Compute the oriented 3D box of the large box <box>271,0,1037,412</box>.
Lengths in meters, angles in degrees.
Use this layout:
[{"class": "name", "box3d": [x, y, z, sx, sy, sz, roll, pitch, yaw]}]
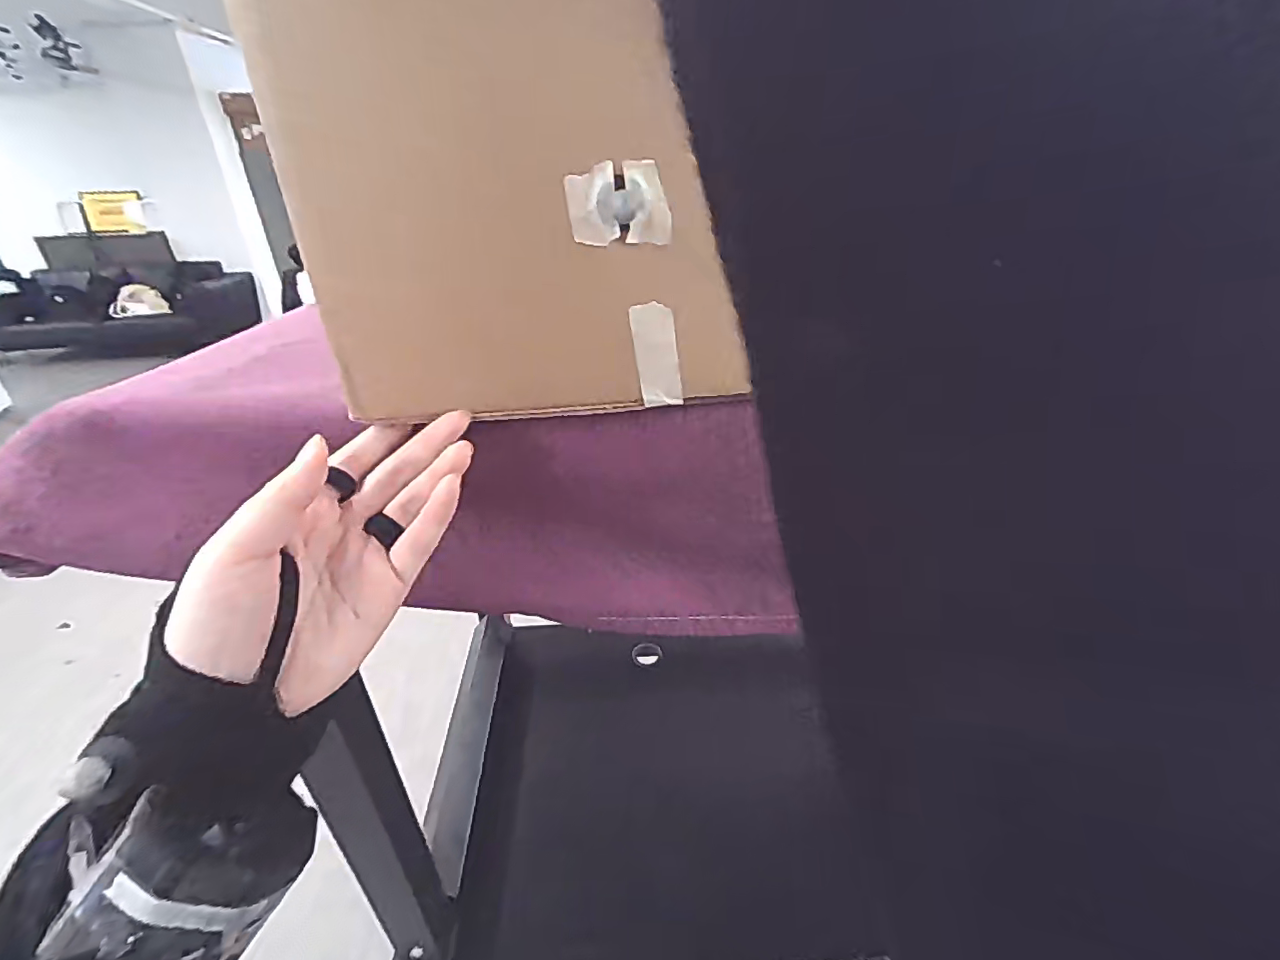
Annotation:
[{"class": "large box", "box3d": [-0.014, -0.267, 0.375, 0.320, 0.320, 0.408, -5, 28, -7]}]
